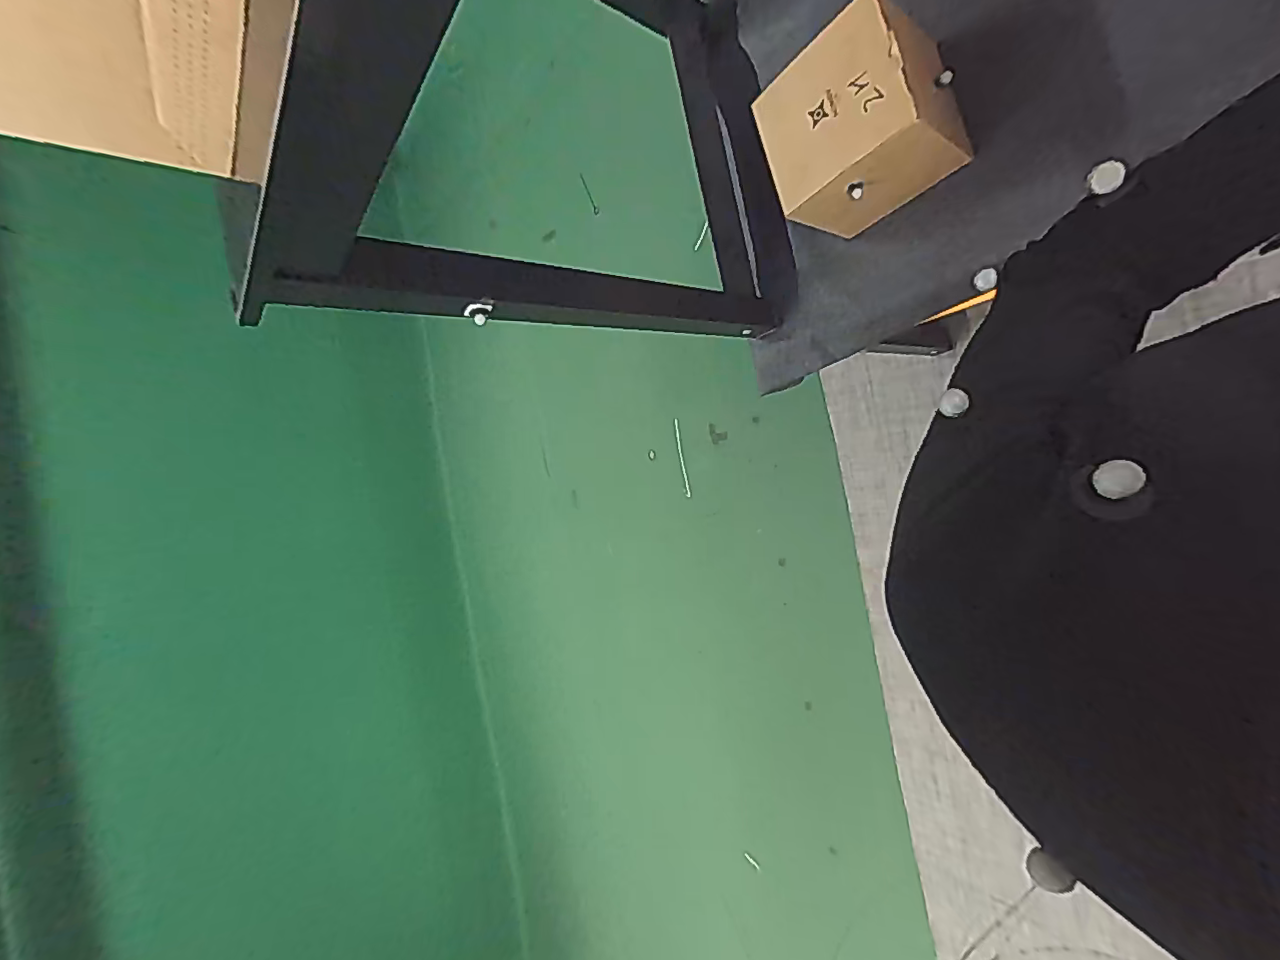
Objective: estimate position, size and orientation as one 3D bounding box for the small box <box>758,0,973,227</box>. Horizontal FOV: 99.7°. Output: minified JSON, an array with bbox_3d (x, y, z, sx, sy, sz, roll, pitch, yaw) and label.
[{"bbox_3d":[0.287,-0.455,0.695,0.179,0.176,0.168,-21,81,49],"label":"small box"}]
